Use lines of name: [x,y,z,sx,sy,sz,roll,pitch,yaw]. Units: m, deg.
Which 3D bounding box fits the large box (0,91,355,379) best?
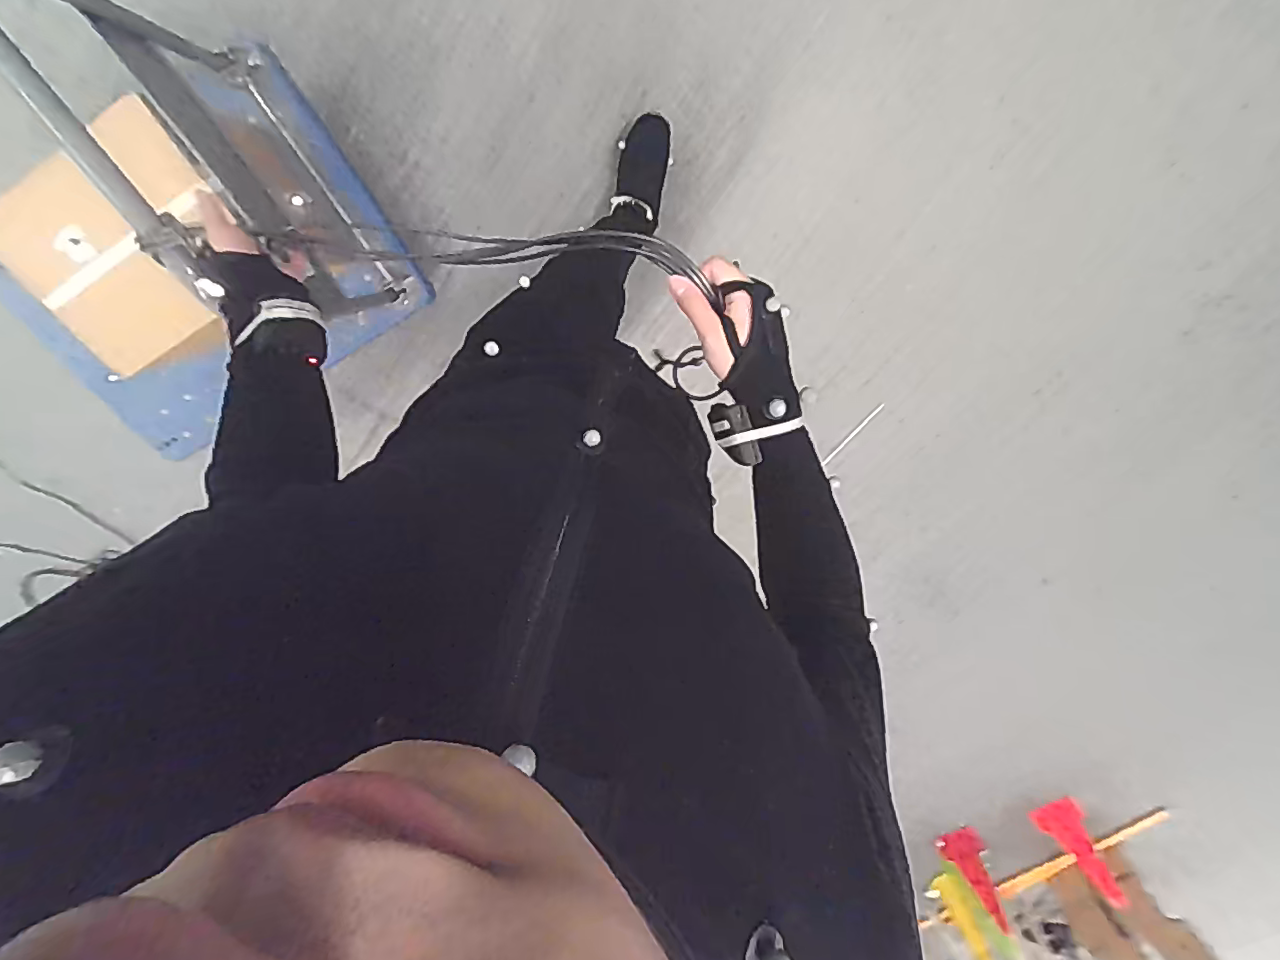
large box: [-0.872,-0.463,1.060,0.408,0.320,0.320,-26,113,11]
